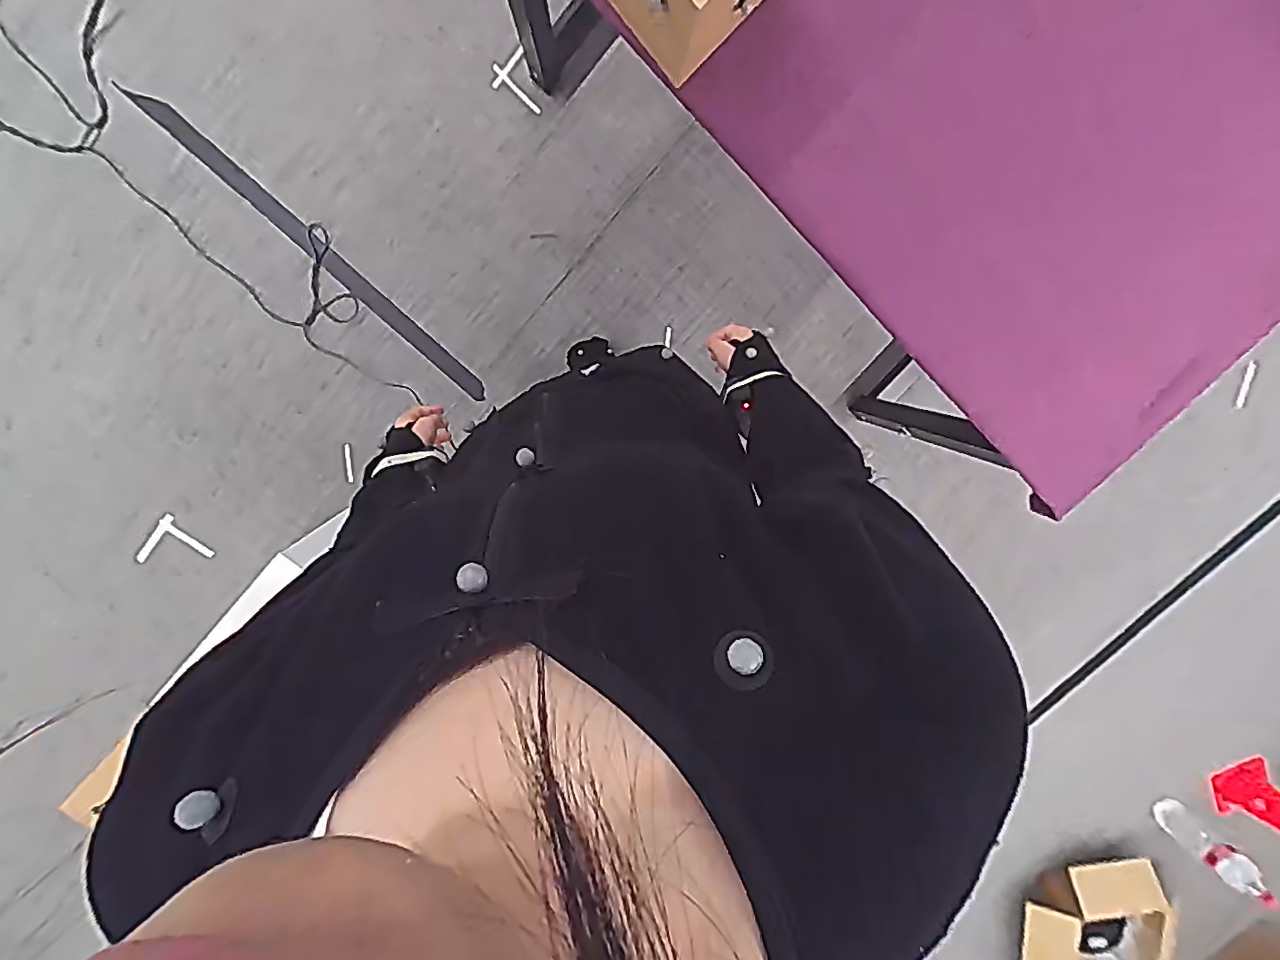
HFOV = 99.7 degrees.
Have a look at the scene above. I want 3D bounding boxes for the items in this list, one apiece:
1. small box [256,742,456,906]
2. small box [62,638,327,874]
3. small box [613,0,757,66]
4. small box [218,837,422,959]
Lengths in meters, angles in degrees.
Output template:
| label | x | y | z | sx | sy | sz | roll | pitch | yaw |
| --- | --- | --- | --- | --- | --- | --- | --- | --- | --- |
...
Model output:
| label | x | y | z | sx | sy | sz | roll | pitch | yaw |
| --- | --- | --- | --- | --- | --- | --- | --- | --- | --- |
| small box | -0.385 | 0.517 | 0.766 | 0.168 | 0.176 | 0.179 | 41 | 100 | -13 |
| small box | -0.558 | 0.349 | 0.708 | 0.179 | 0.176 | 0.168 | -44 | 104 | 7 |
| small box | 0.050 | -0.554 | 0.526 | 0.168 | 0.176 | 0.179 | -42 | 103 | 8 |
| small box | -0.379 | 0.561 | 0.610 | 0.168 | 0.176 | 0.179 | 41 | 99 | -13 |
